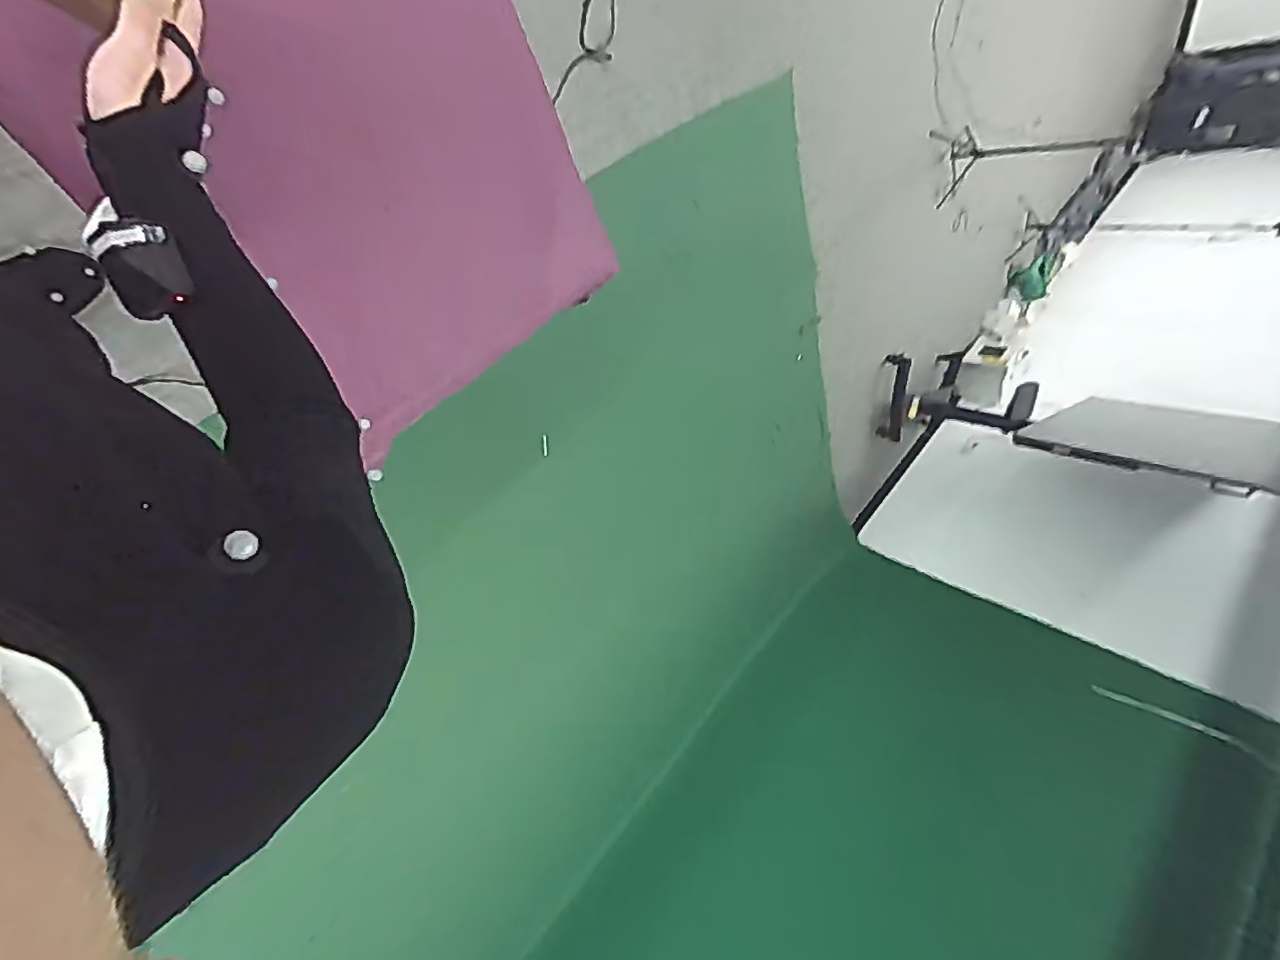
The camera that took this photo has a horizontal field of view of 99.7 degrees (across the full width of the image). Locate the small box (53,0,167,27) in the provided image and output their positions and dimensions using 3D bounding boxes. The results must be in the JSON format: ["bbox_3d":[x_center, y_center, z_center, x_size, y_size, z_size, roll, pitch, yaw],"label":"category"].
[{"bbox_3d":[-0.444,-0.464,0.376,0.179,0.176,0.168,8,105,-54],"label":"small box"}]
